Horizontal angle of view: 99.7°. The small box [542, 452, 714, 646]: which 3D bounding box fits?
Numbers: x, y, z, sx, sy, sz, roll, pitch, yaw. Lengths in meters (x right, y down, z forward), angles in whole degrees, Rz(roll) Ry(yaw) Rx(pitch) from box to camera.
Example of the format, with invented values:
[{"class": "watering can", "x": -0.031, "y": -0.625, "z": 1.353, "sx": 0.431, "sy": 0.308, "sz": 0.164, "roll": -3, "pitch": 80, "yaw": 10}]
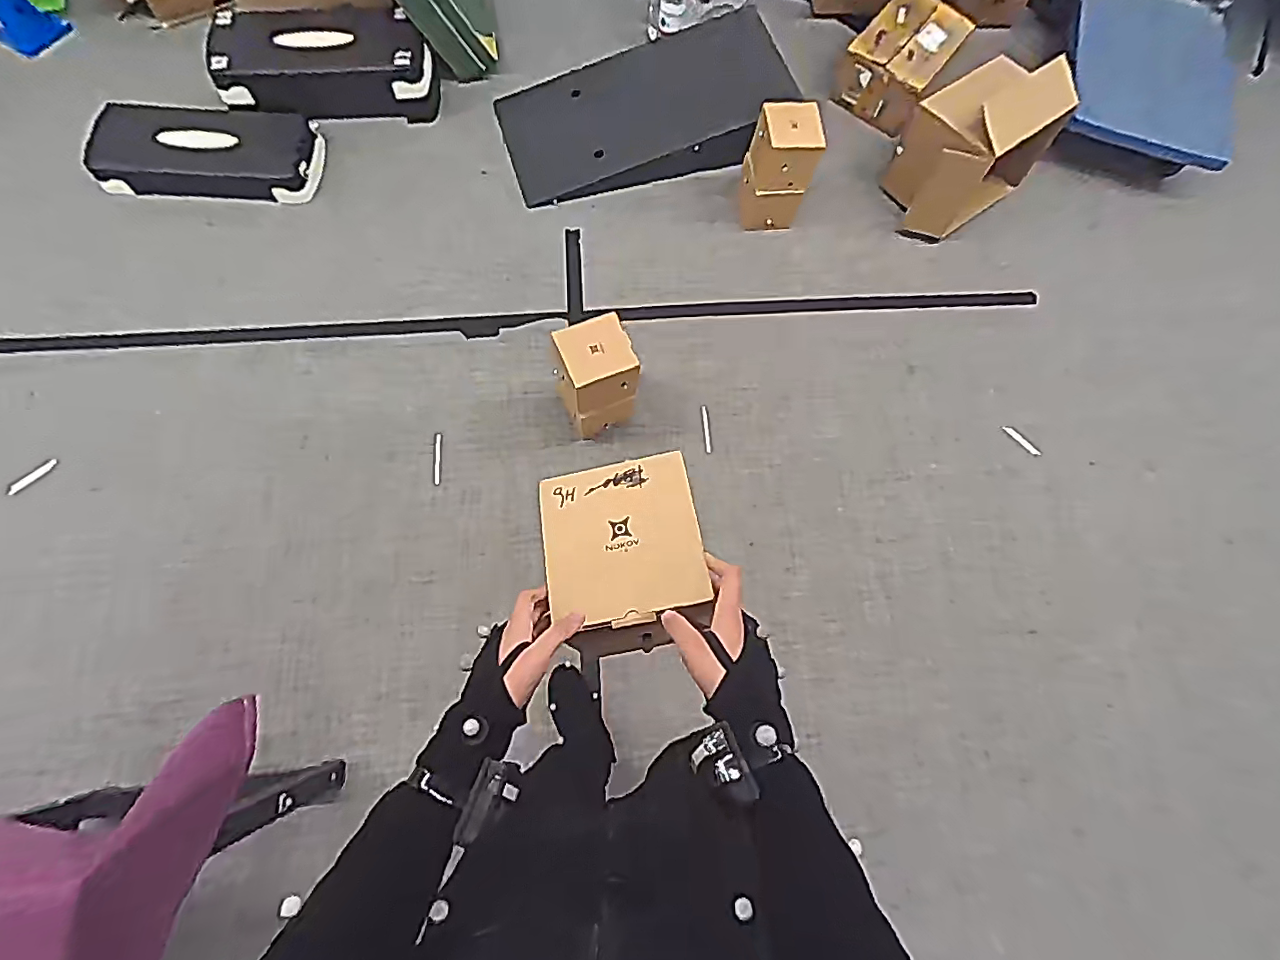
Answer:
[{"class": "small box", "x": -0.008, "y": 0.094, "z": 0.642, "sx": 0.168, "sy": 0.176, "sz": 0.179, "roll": -11, "pitch": 64, "yaw": 3}]
